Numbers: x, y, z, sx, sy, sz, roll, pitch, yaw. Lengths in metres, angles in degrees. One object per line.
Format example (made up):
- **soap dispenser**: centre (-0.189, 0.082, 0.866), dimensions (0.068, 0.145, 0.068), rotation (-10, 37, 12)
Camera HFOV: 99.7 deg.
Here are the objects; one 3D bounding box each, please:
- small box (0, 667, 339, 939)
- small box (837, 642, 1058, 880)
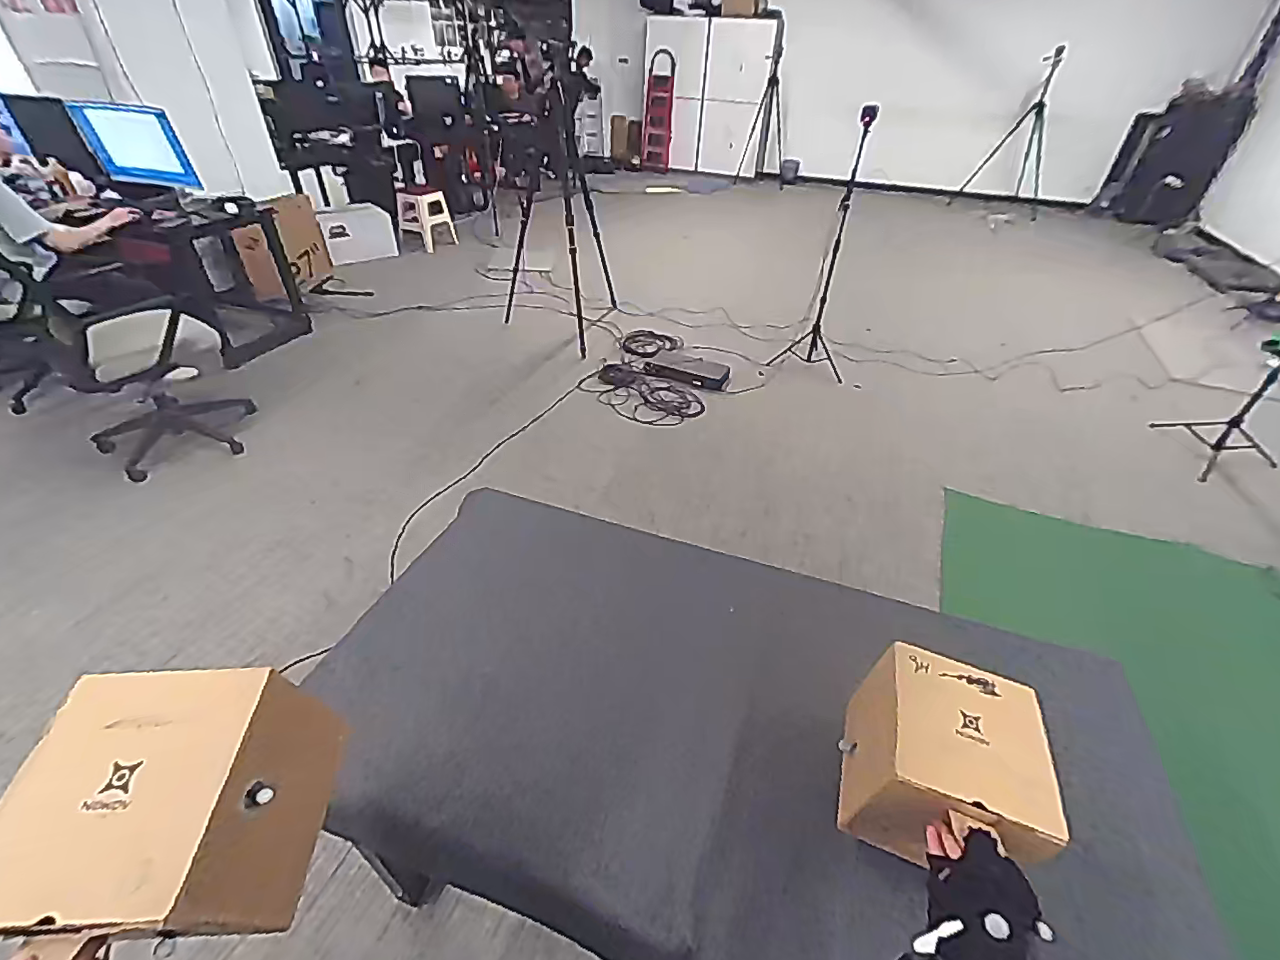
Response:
- **small box**: centre (-0.395, 0.280, 0.467), dimensions (0.168, 0.176, 0.179), rotation (-2, 49, -2)
- **small box**: centre (0.349, 0.338, 0.650), dimensions (0.168, 0.176, 0.179), rotation (19, 42, 11)
